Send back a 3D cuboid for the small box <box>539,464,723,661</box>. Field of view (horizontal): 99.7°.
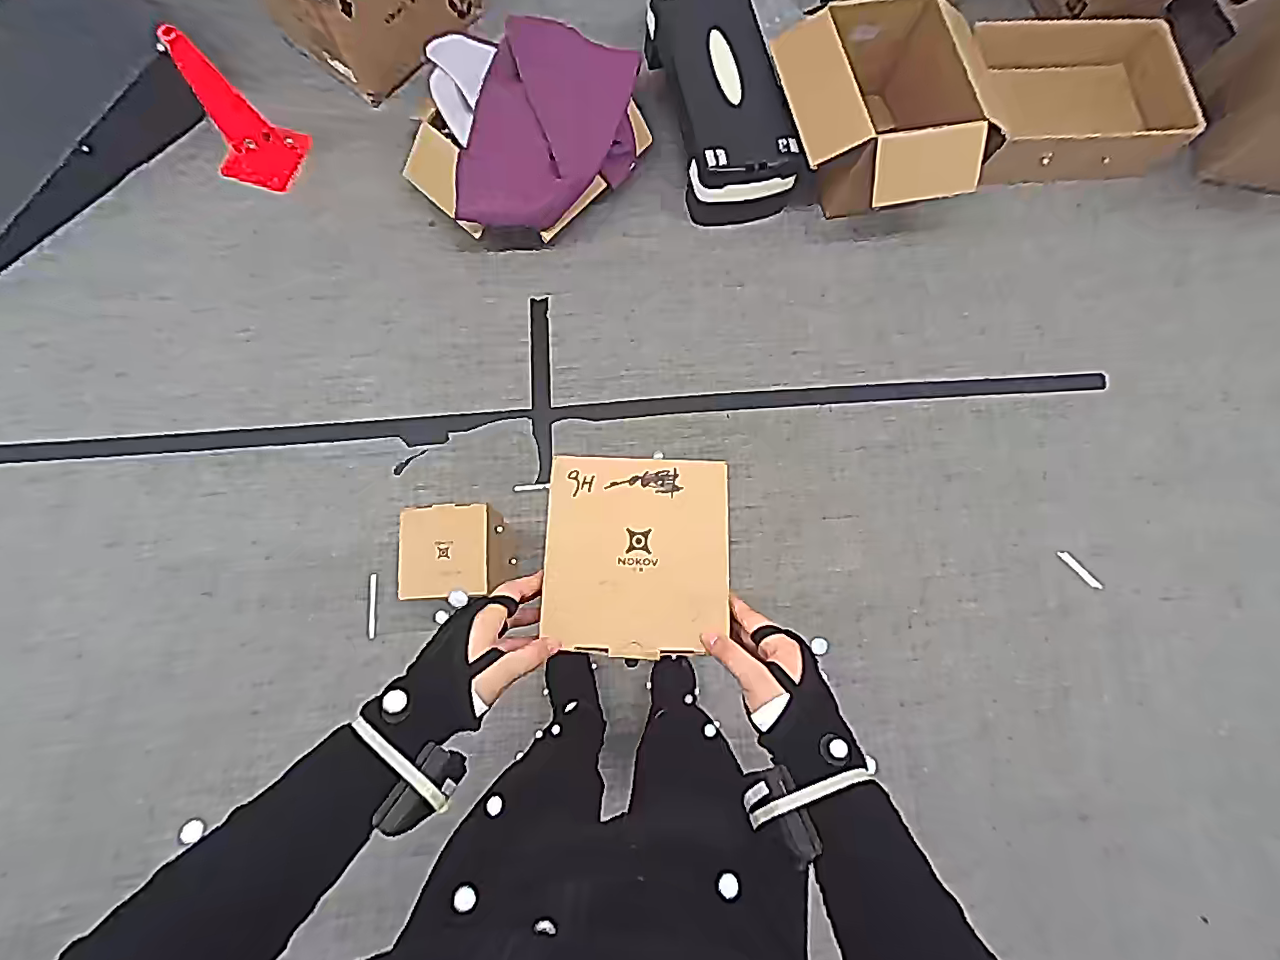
[{"bbox_3d":[-0.006,0.091,0.572,0.168,0.176,0.179,2,75,-1],"label":"small box"}]

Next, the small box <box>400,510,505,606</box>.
[{"bbox_3d":[-0.377,0.164,1.109,0.168,0.176,0.179,-4,79,-3],"label":"small box"}]

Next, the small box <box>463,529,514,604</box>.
[{"bbox_3d":[-0.394,0.204,1.265,0.179,0.176,0.168,-2,77,-4],"label":"small box"}]
